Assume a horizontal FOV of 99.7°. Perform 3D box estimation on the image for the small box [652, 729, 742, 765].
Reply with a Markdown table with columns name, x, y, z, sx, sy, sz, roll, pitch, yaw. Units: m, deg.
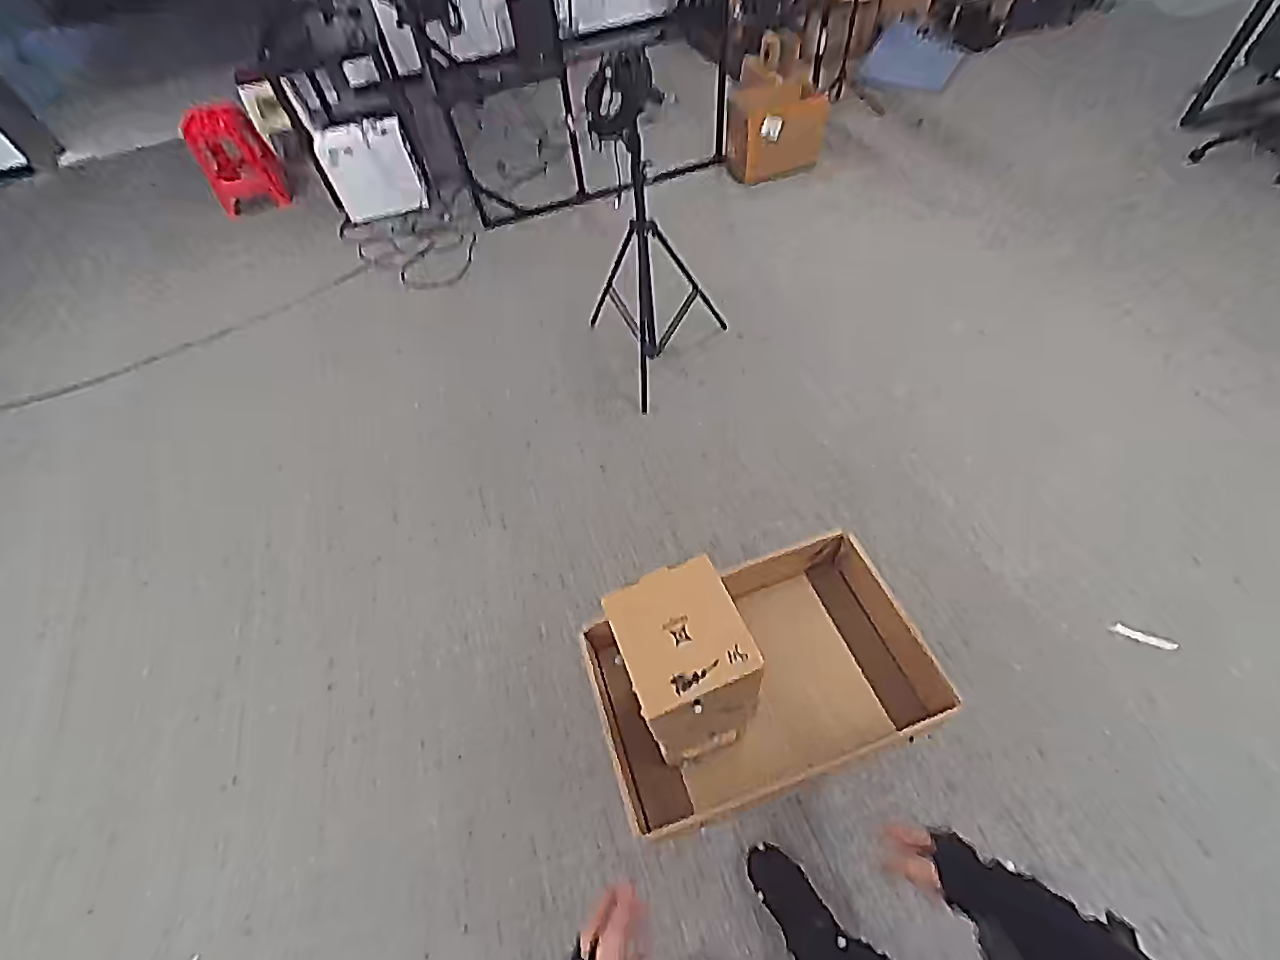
| name | x | y | z | sx | sy | sz | roll | pitch | yaw |
| --- | --- | --- | --- | --- | --- | --- | --- | --- | --- |
| small box | 0.092 | 0.431 | 1.045 | 0.168 | 0.176 | 0.179 | -20 | 54 | -7 |

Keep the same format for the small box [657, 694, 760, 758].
| name | x | y | z | sx | sy | sz | roll | pitch | yaw |
| --- | --- | --- | --- | --- | --- | --- | --- | --- | --- |
| small box | 0.083 | 0.339 | 0.910 | 0.168 | 0.176 | 0.179 | -22 | 56 | -7 |

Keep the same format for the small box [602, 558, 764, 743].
| name | x | y | z | sx | sy | sz | roll | pitch | yaw |
| --- | --- | --- | --- | --- | --- | --- | --- | --- | --- |
| small box | 0.058 | 0.247 | 0.775 | 0.168 | 0.176 | 0.179 | -22 | 54 | -7 |
